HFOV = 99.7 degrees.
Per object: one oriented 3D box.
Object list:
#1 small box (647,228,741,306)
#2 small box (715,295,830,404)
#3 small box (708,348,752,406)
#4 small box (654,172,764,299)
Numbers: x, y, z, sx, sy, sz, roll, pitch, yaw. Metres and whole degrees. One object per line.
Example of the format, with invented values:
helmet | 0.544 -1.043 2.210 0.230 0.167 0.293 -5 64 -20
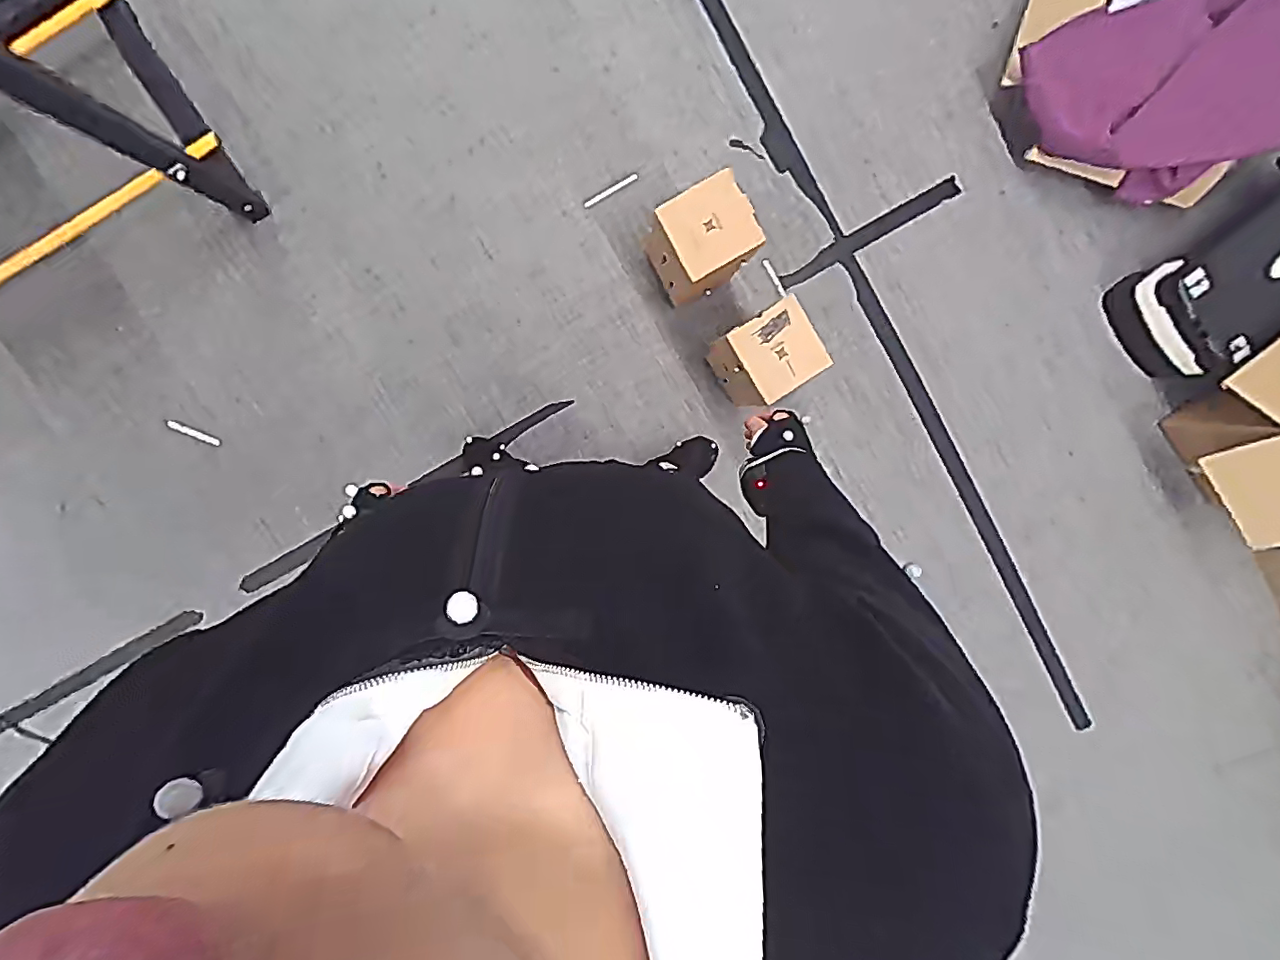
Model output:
small box | 0.128 -0.550 1.345 0.168 0.176 0.179 -28 97 1
small box | 0.288 -0.283 1.222 0.168 0.176 0.179 -33 98 2
small box | 0.288 -0.301 1.387 0.179 0.176 0.168 -33 97 3
small box | 0.142 -0.525 1.185 0.179 0.176 0.168 -30 96 3
